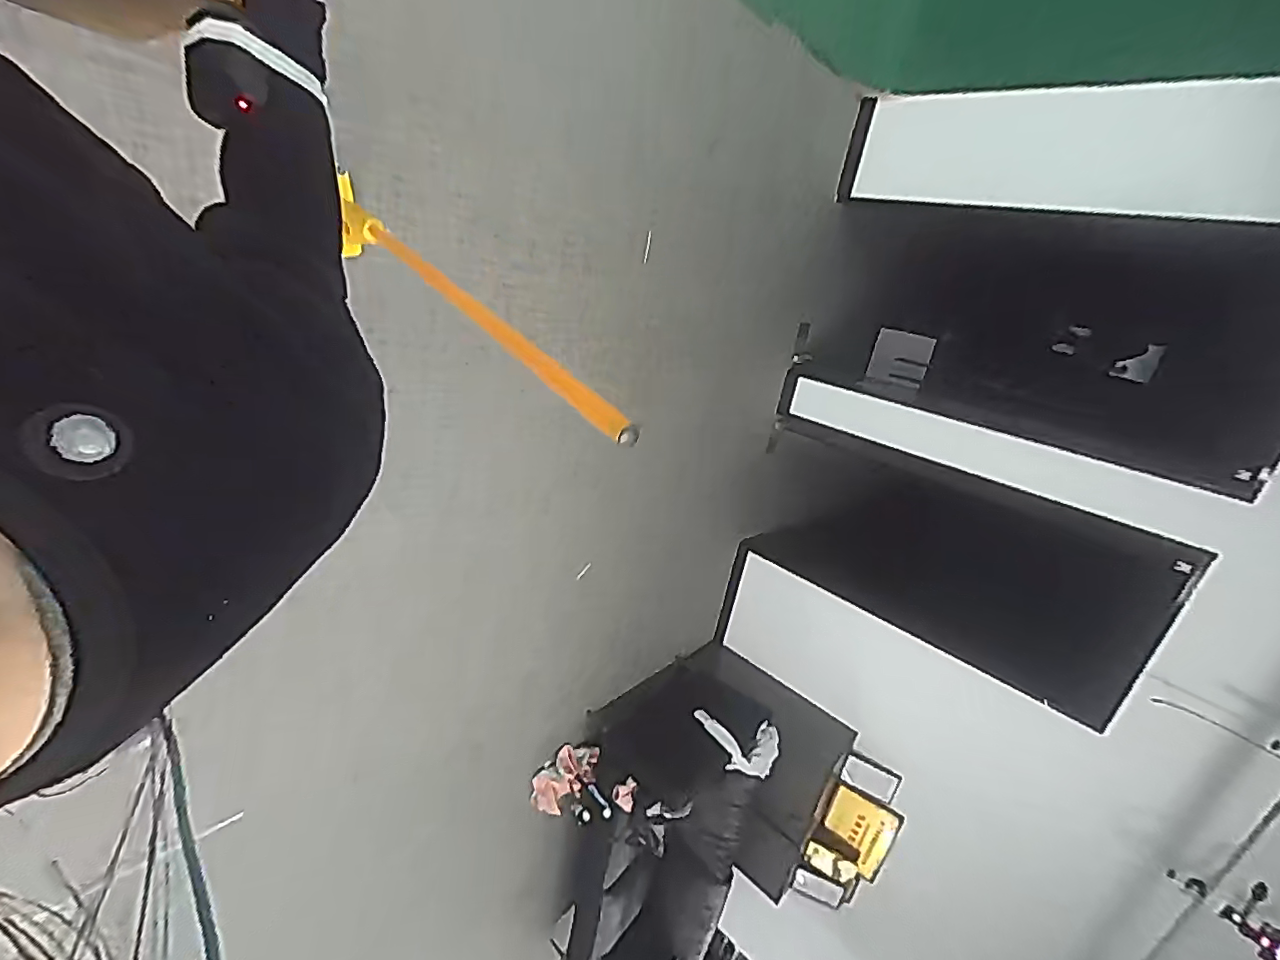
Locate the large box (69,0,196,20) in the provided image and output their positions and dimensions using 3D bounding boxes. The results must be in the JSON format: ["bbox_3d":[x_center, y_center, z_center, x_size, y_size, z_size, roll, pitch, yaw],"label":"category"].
[{"bbox_3d":[-0.511,-0.528,0.286,0.408,0.320,0.320,-14,121,-50],"label":"large box"}]
